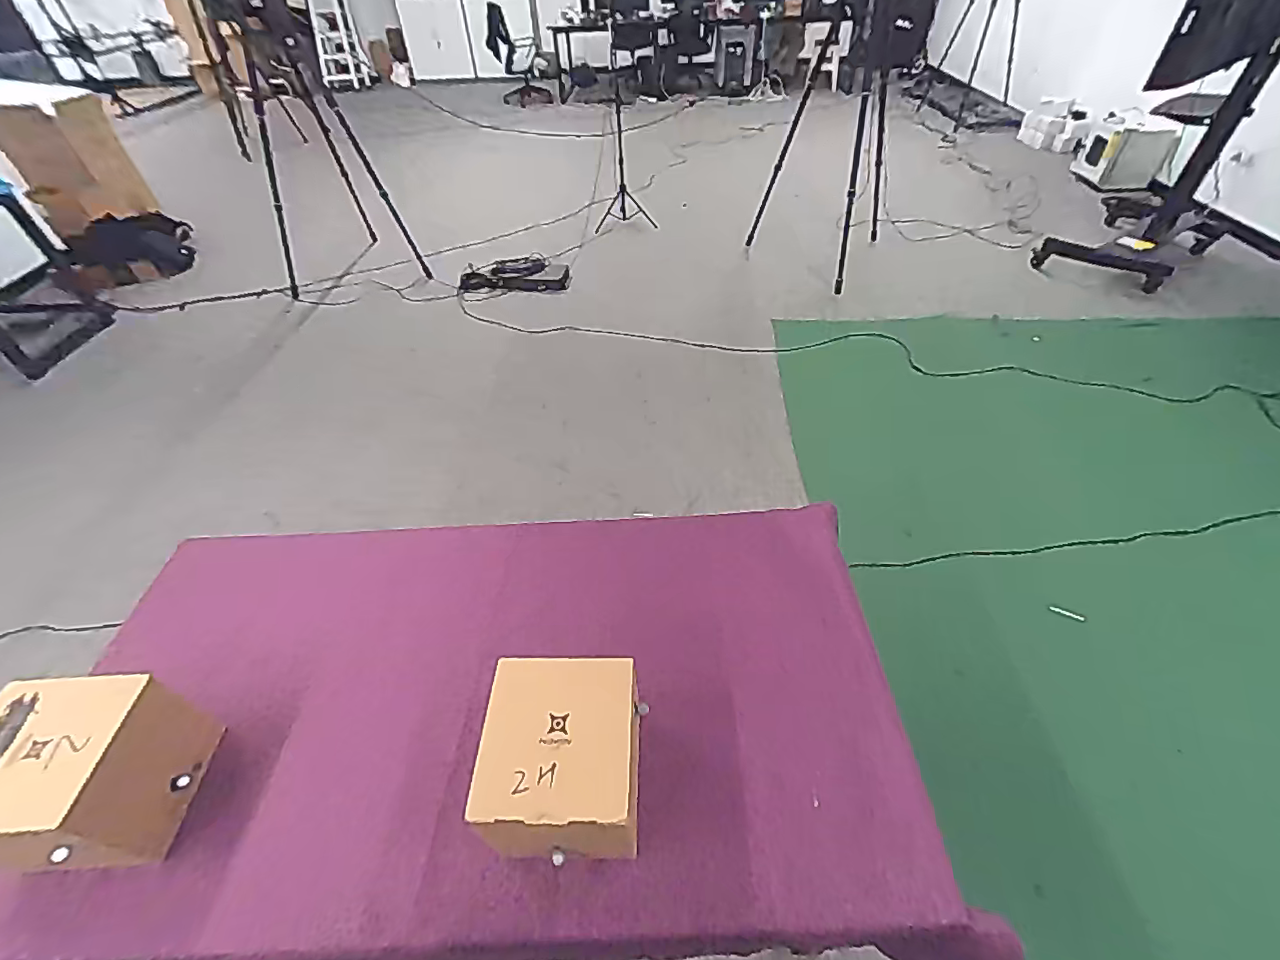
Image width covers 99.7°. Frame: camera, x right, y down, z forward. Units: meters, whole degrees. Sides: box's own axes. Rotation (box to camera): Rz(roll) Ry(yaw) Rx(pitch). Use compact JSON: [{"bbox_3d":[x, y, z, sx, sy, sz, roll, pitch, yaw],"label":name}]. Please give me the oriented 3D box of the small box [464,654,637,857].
[{"bbox_3d":[-0.090,0.330,0.650,0.168,0.176,0.179,0,46,3],"label":"small box"}]
